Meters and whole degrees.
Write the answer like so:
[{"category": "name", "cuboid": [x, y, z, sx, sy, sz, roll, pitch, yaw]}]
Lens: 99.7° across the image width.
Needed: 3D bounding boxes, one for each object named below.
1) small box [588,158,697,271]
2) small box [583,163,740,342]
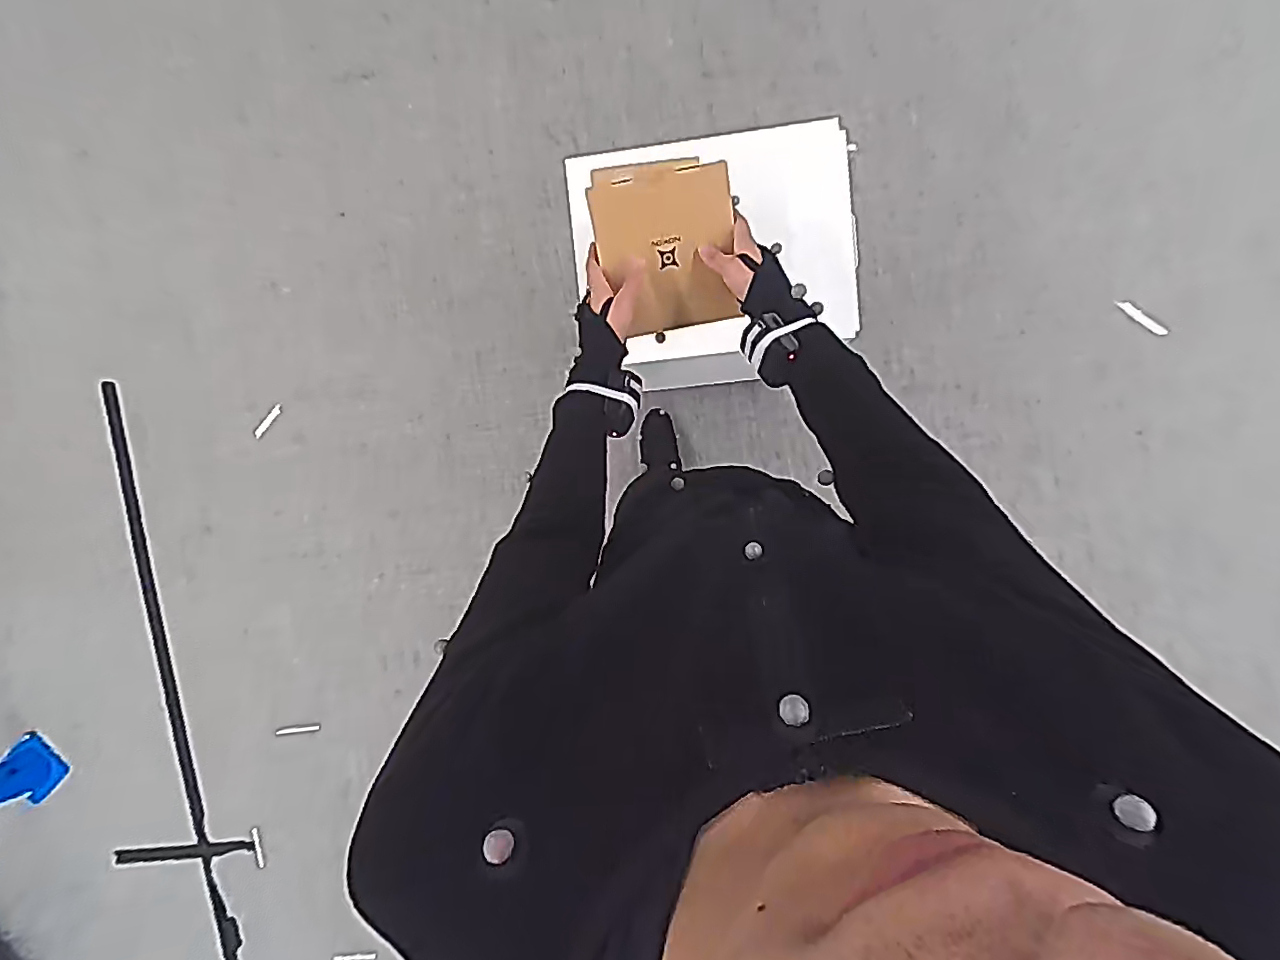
[{"category": "small box", "cuboid": [0.015, -0.423, 0.937, 0.179, 0.176, 0.168, -4, 94, 4]}, {"category": "small box", "cuboid": [0.029, -0.286, 0.714, 0.168, 0.176, 0.179, -10, 105, 3]}]
